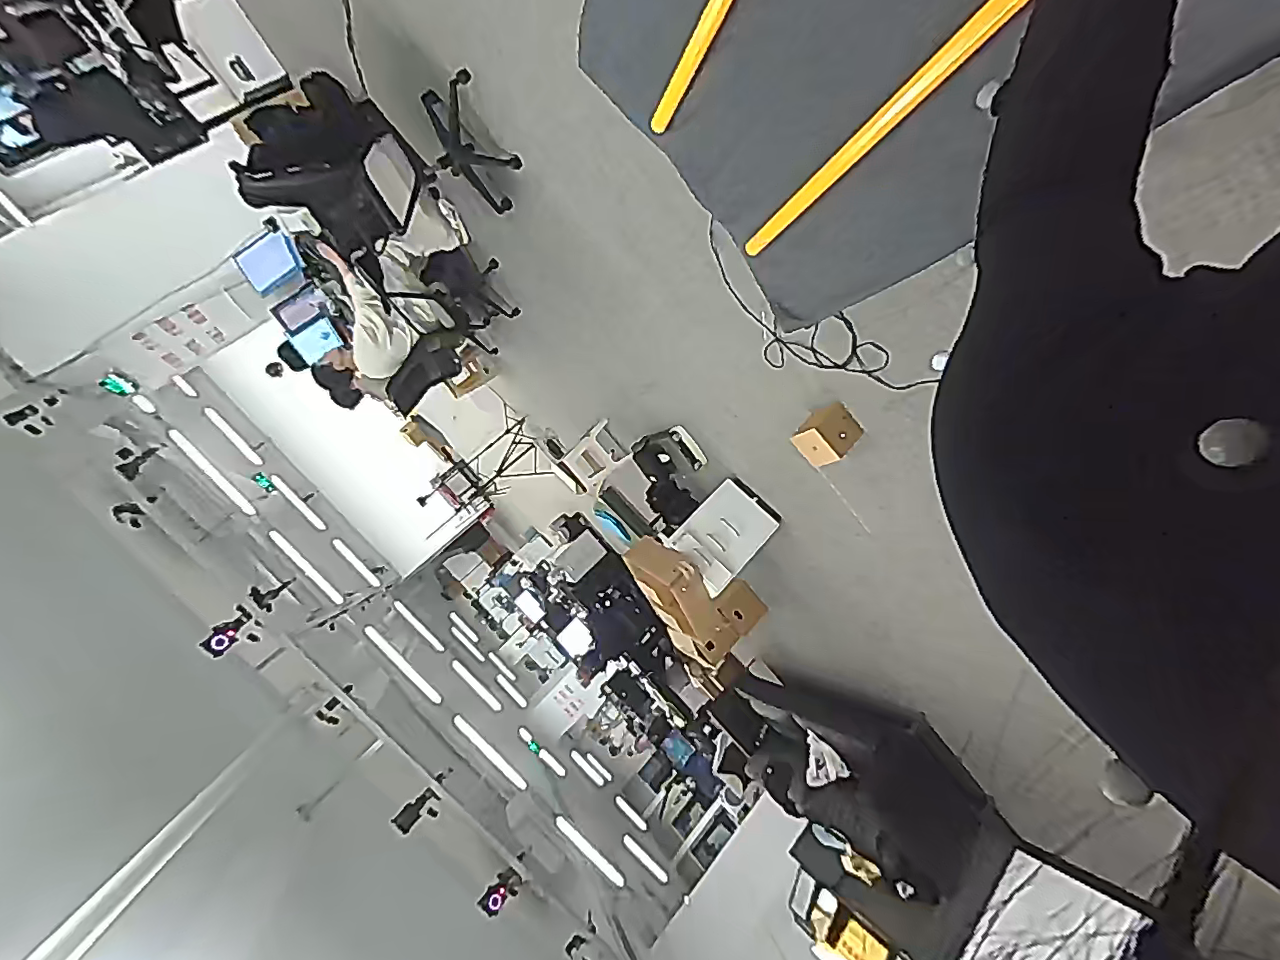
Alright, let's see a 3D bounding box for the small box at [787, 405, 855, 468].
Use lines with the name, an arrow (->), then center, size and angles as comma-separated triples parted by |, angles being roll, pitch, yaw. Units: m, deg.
small box -> 0.734, -0.177, 2.173 | 0.168, 0.176, 0.179 | 48, 161, -5
